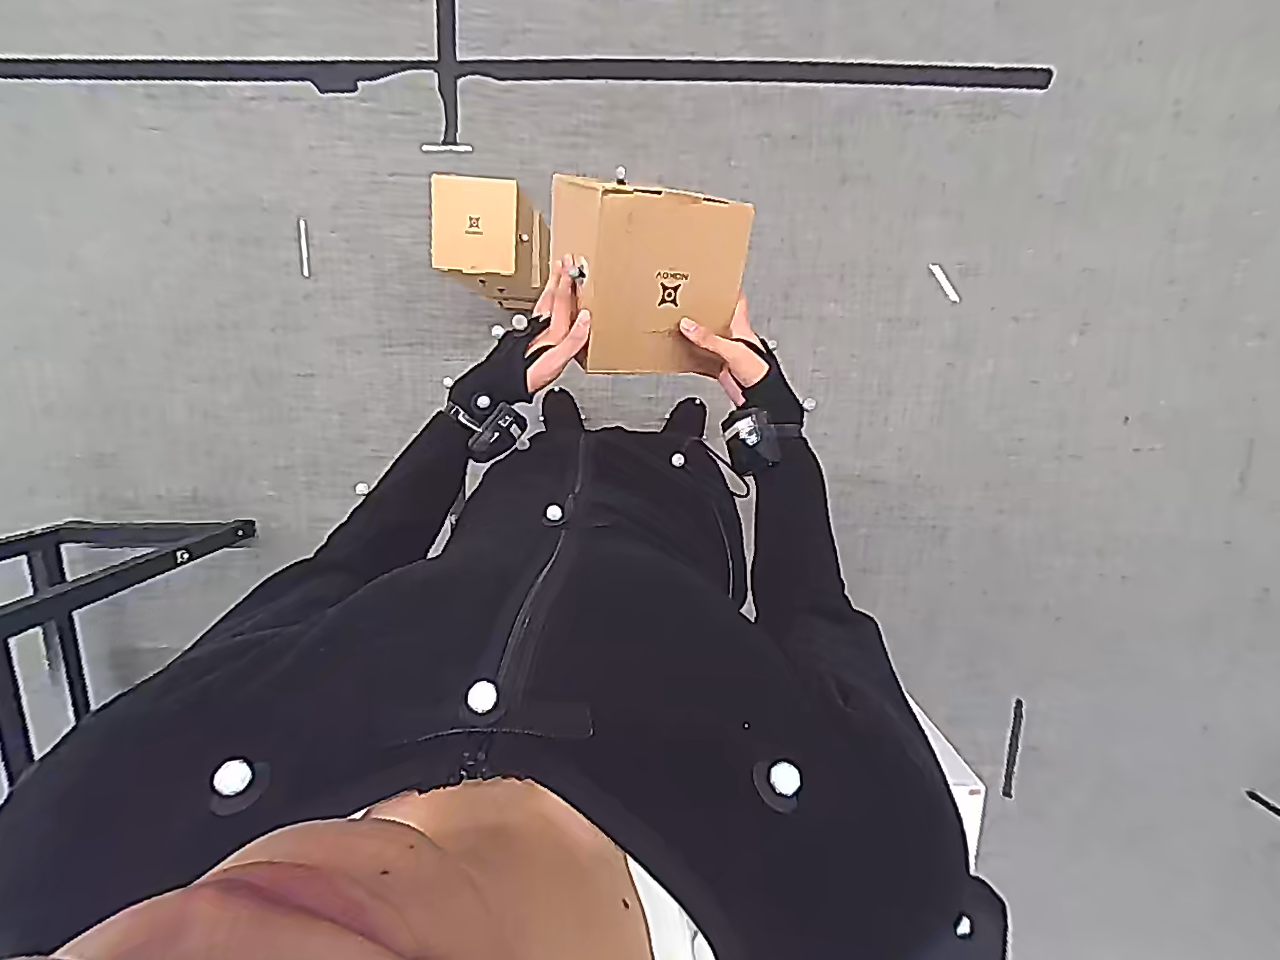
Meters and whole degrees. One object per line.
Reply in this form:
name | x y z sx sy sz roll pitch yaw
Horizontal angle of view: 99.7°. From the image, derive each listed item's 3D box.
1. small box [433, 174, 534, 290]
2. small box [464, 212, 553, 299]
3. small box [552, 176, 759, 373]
small box | -0.317 -0.504 1.120 0.168 0.176 0.179 4 101 -1
small box | -0.307 -0.527 1.282 0.179 0.176 0.168 1 101 -1
small box | 0.003 -0.230 0.603 0.168 0.176 0.179 -5 121 -23
